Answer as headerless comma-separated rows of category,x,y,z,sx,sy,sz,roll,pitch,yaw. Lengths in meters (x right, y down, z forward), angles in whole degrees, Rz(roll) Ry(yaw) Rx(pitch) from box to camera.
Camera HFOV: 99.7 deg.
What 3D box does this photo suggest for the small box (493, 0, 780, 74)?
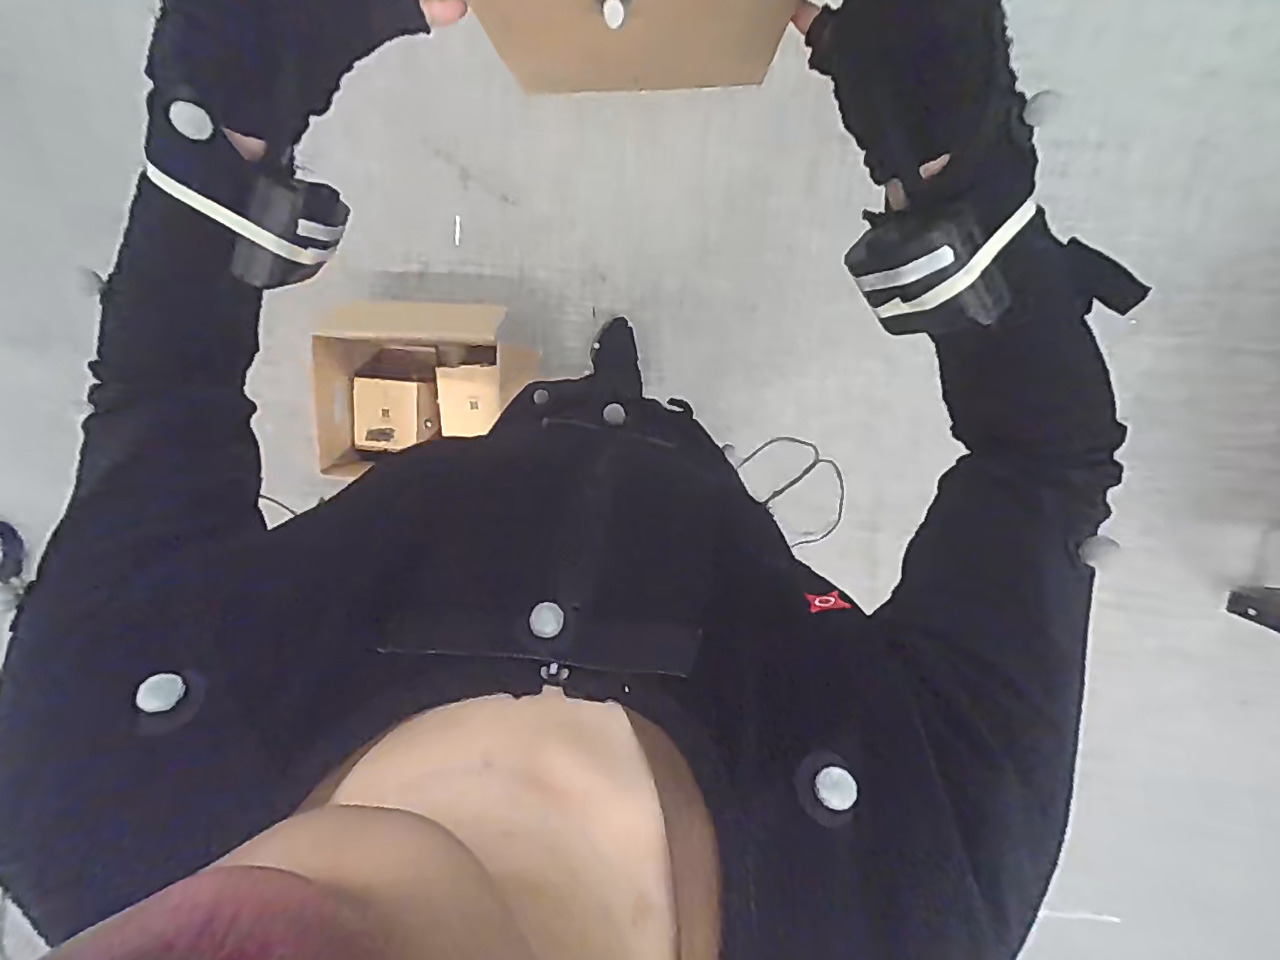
small box,-0.003,-0.347,0.290,0.179,0.176,0.168,-1,108,2
